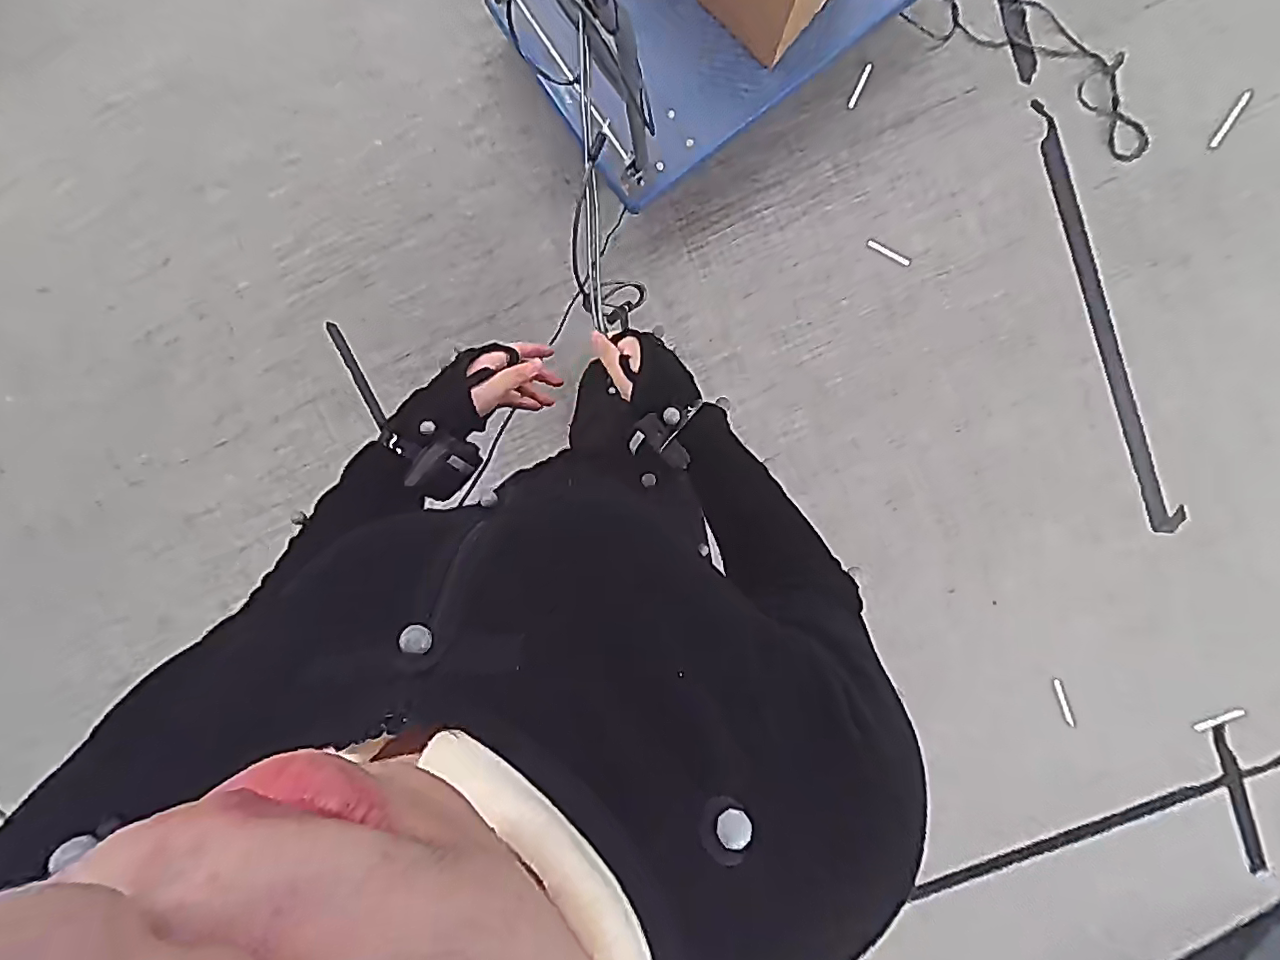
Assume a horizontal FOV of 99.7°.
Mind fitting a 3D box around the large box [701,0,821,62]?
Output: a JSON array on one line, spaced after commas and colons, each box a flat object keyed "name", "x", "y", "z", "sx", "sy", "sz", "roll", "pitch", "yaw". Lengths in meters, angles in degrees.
[{"name": "large box", "x": 0.218, "y": -1.092, "z": 0.962, "sx": 0.408, "sy": 0.320, "sz": 0.320, "roll": 40, "pitch": 99, "yaw": -6}]
